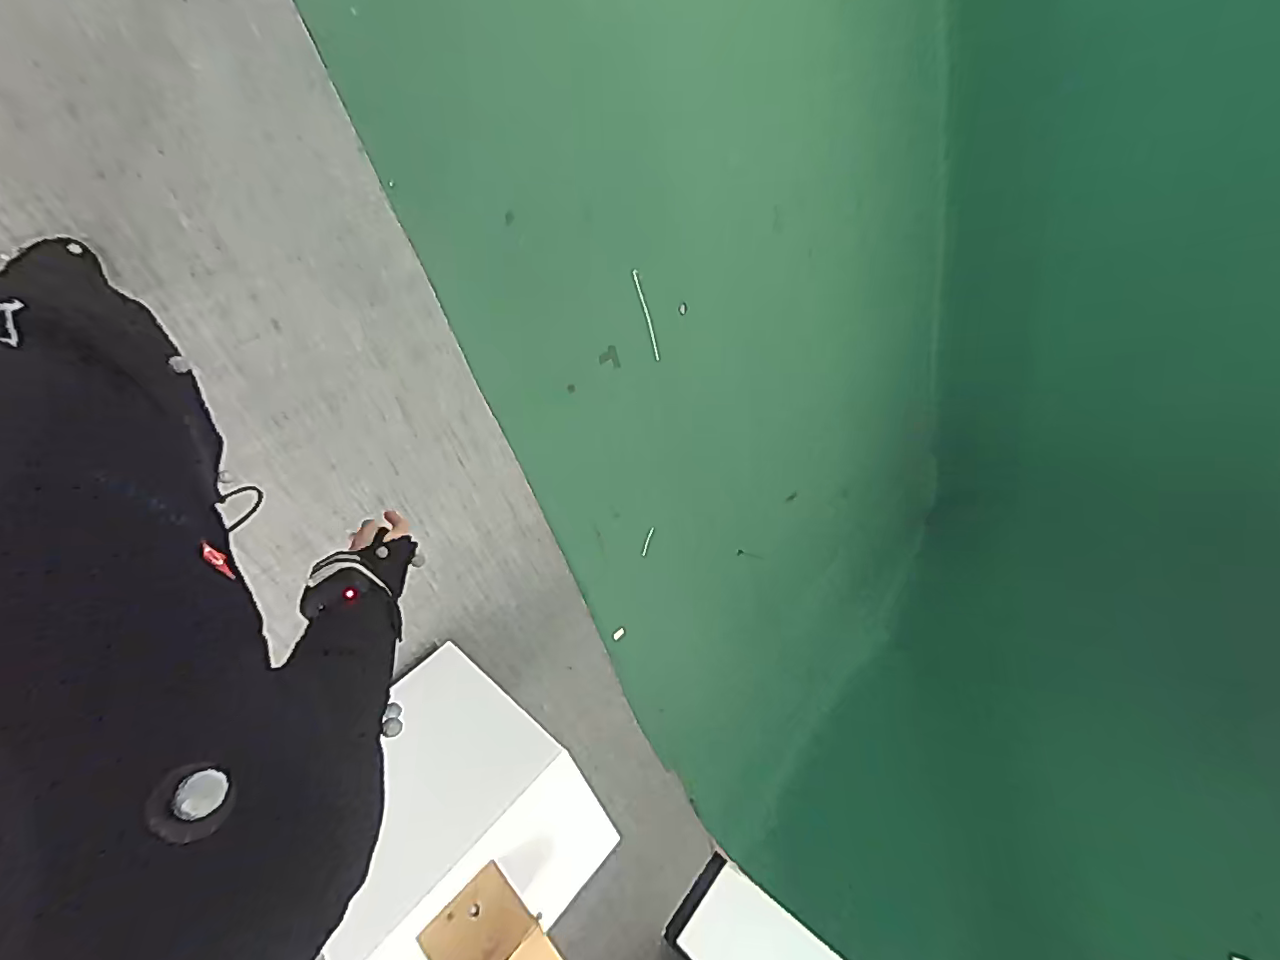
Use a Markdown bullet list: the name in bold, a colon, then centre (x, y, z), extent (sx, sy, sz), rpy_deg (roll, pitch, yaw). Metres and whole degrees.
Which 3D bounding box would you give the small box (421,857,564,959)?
- **small box**: centre (-0.274, 0.859, 1.008), extent (0.168, 0.176, 0.179), rpy_deg (-36, 125, -32)
